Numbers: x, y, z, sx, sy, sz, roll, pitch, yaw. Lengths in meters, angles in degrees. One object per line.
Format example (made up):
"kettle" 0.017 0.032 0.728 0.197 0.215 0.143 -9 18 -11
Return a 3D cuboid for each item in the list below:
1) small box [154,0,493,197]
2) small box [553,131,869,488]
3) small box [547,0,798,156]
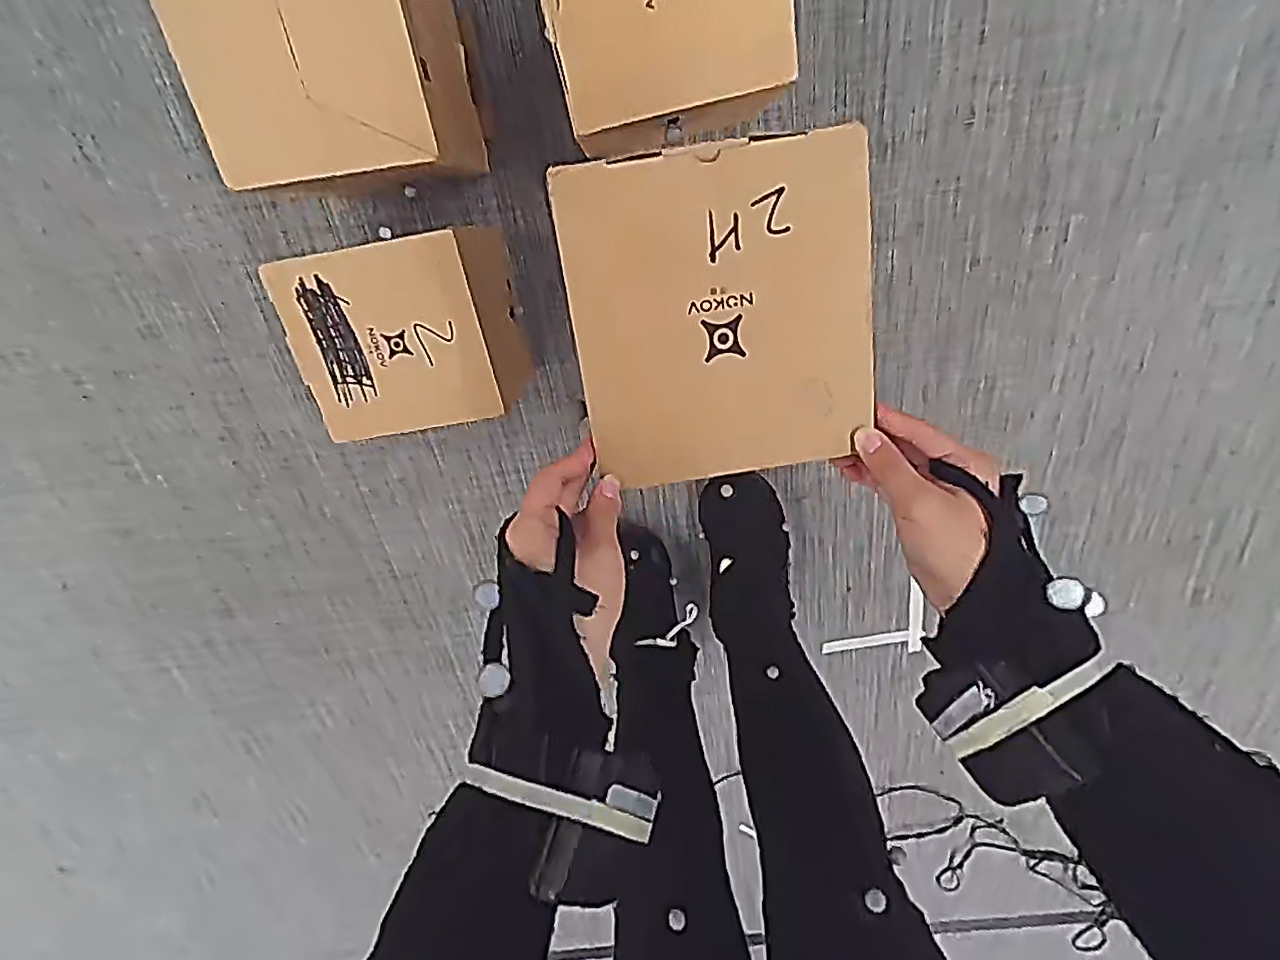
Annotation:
"small box" -0.248 -0.347 0.462 0.179 0.176 0.168 -7 115 2
"small box" 0.042 -0.110 0.377 0.168 0.176 0.179 -8 106 -1
"small box" 0.018 -0.388 0.452 0.179 0.176 0.168 -11 116 5
